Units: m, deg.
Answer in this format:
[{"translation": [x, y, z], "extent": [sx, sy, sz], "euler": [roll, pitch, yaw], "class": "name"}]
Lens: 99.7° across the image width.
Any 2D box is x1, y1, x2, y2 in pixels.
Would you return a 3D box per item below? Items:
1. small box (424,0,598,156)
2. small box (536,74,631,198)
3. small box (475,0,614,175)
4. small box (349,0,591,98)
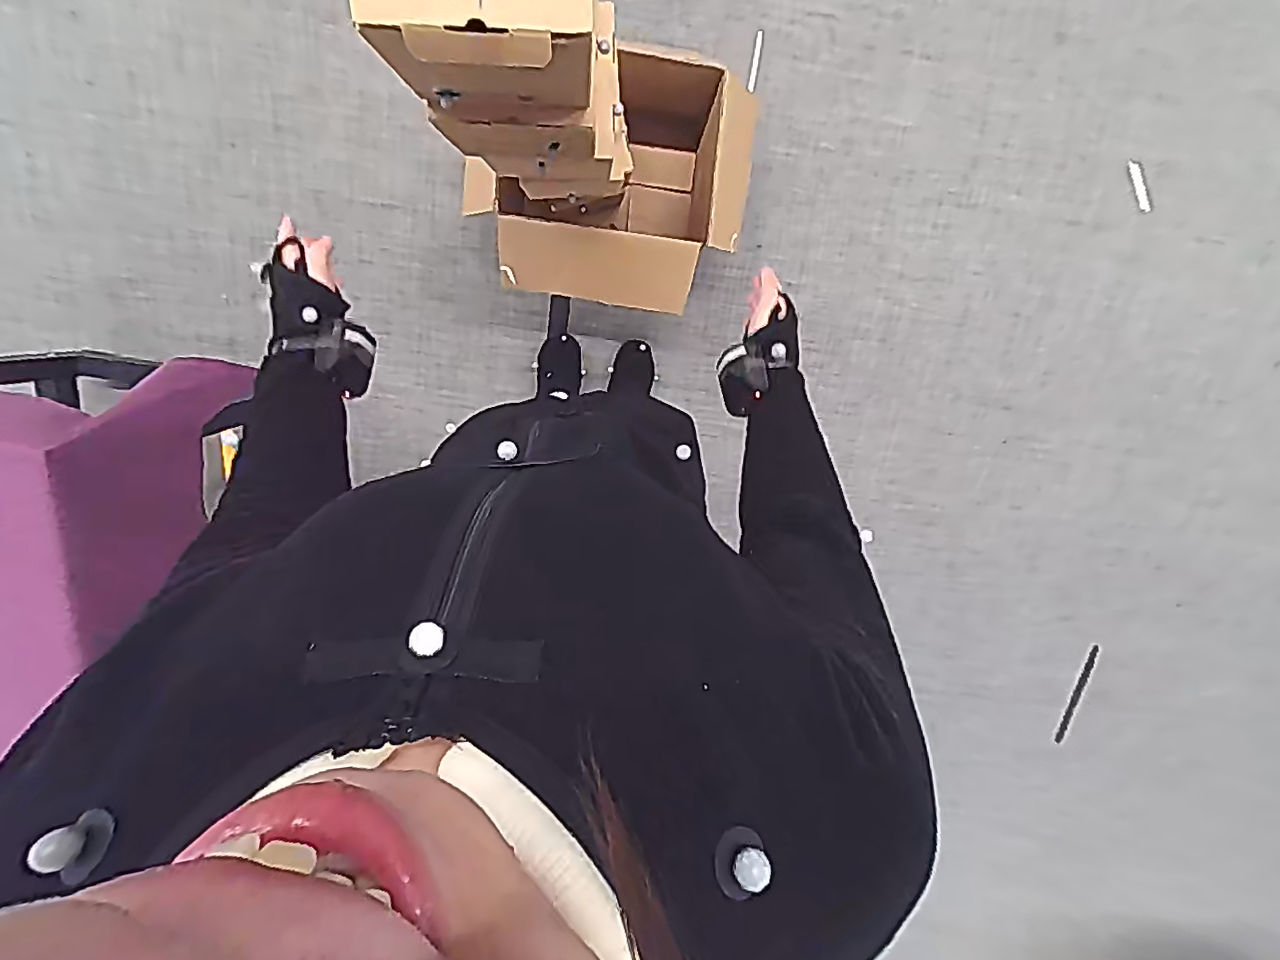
[{"translation": [-0.130, -0.462, 0.577], "extent": [0.168, 0.176, 0.179], "euler": [0, 111, -6], "class": "small box"}, {"translation": [-0.122, -0.654, 1.032], "extent": [0.179, 0.176, 0.168], "euler": [-14, 111, -1], "class": "small box"}, {"translation": [-0.125, -0.520, 0.731], "extent": [0.179, 0.176, 0.168], "euler": [-1, 112, -5], "class": "small box"}, {"translation": [-0.121, -0.421, 0.418], "extent": [0.168, 0.176, 0.179], "euler": [-1, 111, -6], "class": "small box"}]
